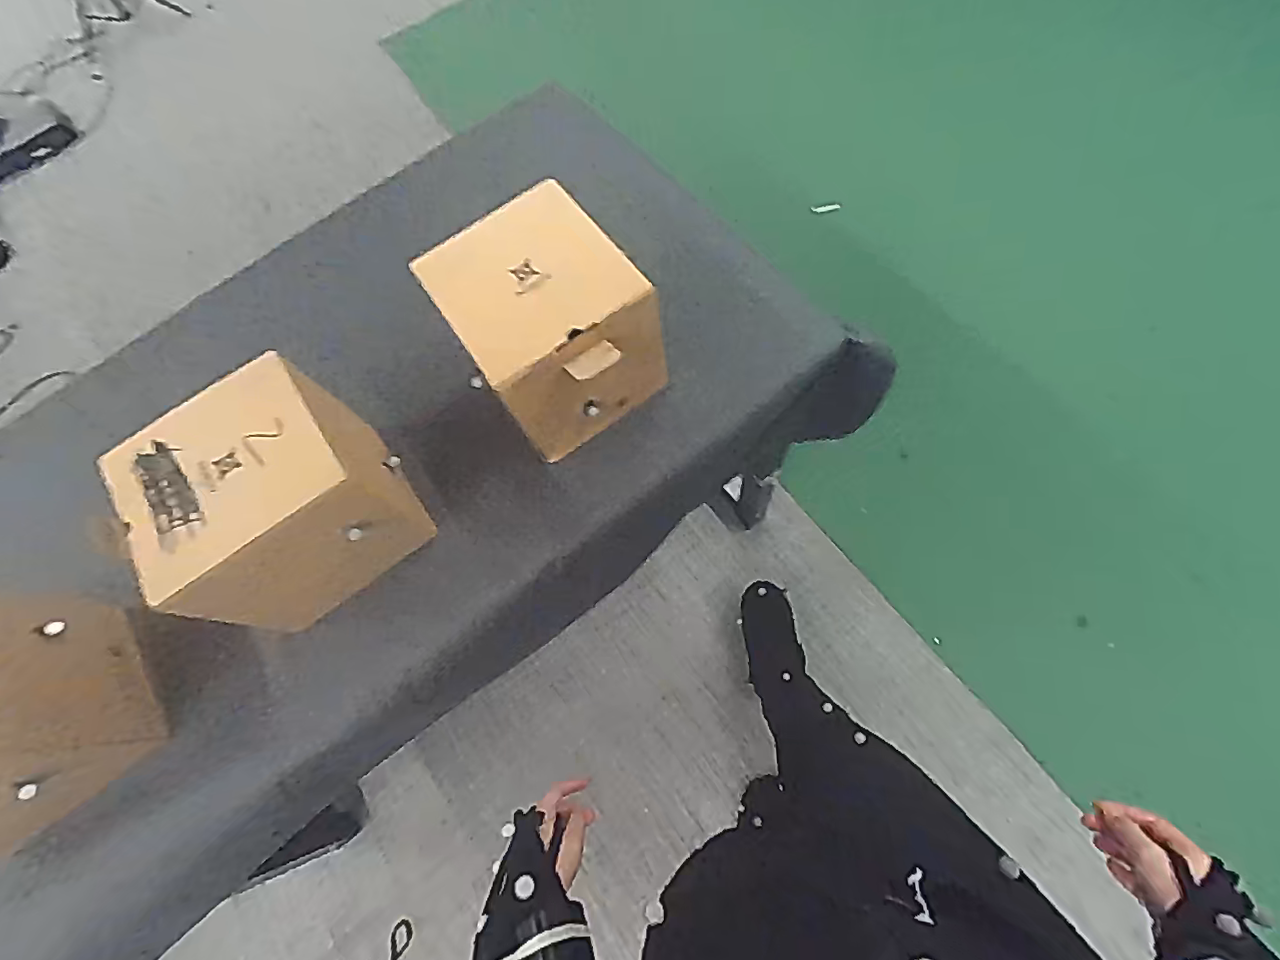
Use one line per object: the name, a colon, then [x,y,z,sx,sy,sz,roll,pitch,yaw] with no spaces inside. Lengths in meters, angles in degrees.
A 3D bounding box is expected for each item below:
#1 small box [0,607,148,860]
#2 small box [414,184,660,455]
small box: [-0.593,0.224,0.476,0.179,0.176,0.168,-38,69,-8]
small box: [-0.094,-0.157,0.568,0.168,0.176,0.179,-35,70,-7]
